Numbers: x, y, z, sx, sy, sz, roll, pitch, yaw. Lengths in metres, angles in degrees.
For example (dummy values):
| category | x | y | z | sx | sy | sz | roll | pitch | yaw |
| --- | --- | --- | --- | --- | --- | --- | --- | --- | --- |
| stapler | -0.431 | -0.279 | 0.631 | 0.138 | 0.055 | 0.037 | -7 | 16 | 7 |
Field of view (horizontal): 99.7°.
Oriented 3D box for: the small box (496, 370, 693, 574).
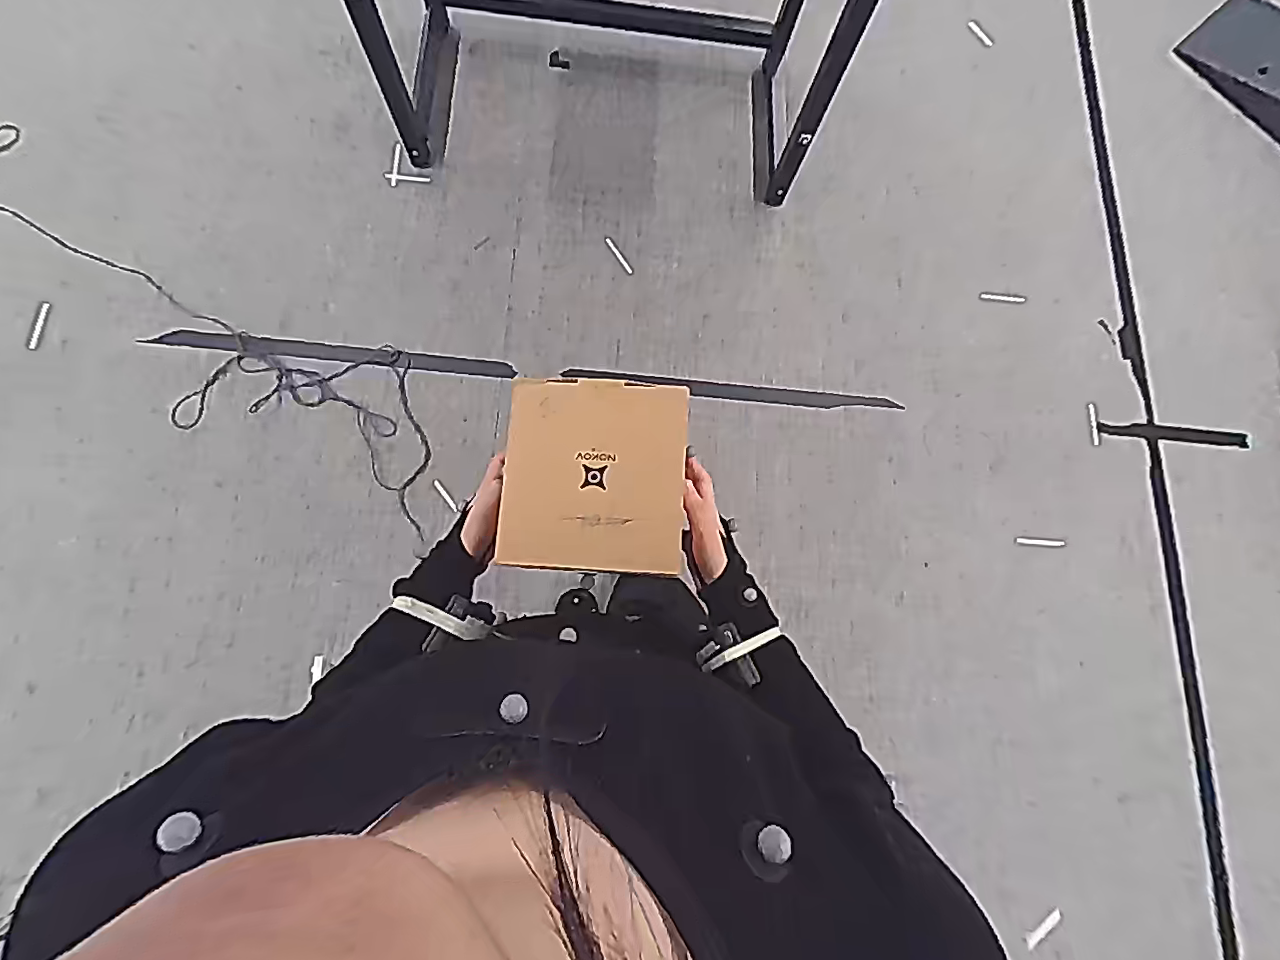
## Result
| category | x | y | z | sx | sy | sz | roll | pitch | yaw |
| --- | --- | --- | --- | --- | --- | --- | --- | --- | --- |
| small box | -0.038 | 0.002 | 0.564 | 0.168 | 0.176 | 0.179 | 3 | 79 | 2 |
